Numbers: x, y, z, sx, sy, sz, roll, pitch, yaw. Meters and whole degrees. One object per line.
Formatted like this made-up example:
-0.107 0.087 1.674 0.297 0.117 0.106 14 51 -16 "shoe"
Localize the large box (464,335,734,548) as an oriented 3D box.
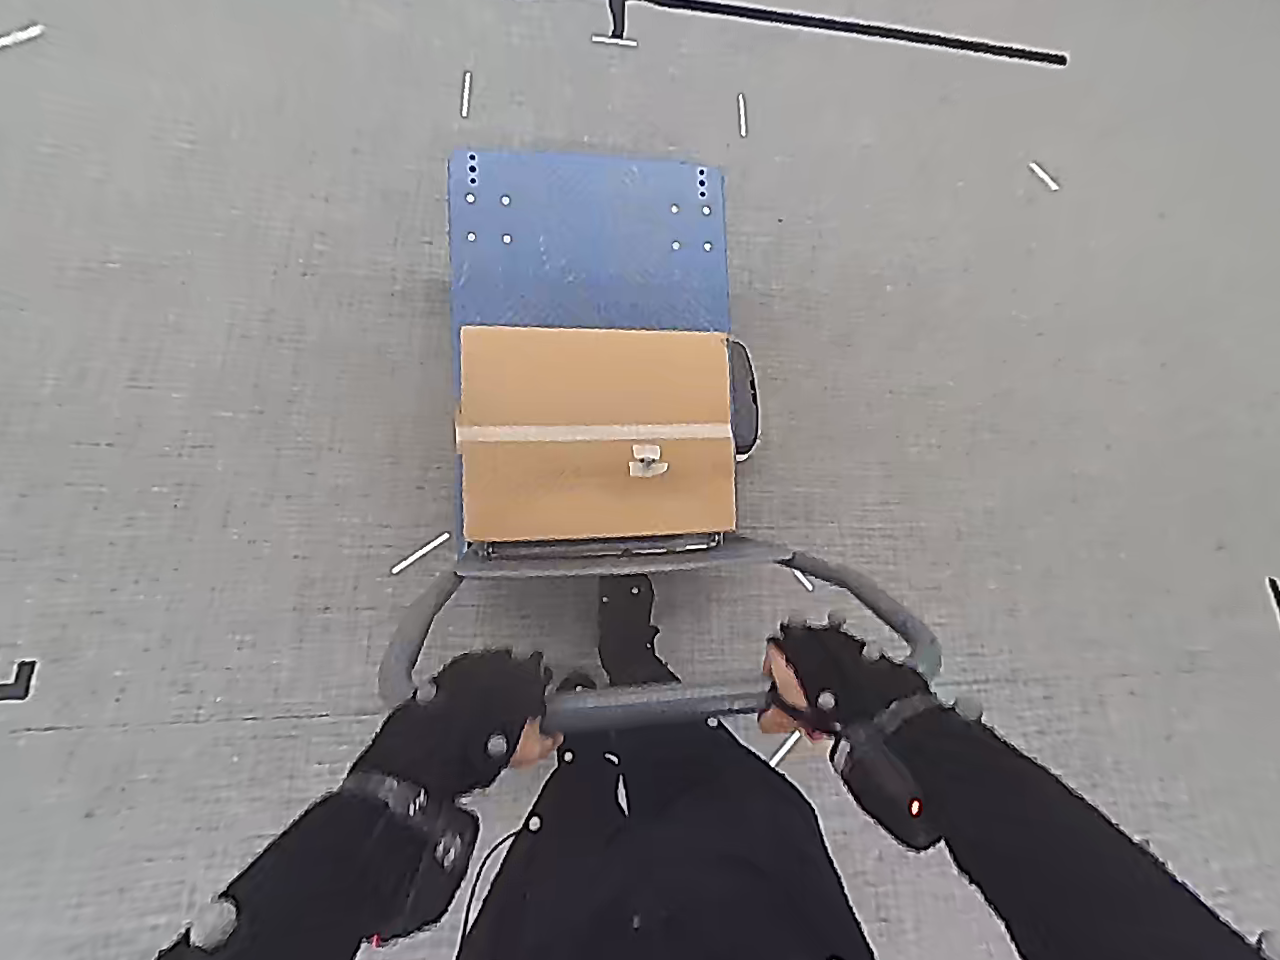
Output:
-0.083 -0.056 0.958 0.408 0.320 0.320 -1 88 -11 "large box"
